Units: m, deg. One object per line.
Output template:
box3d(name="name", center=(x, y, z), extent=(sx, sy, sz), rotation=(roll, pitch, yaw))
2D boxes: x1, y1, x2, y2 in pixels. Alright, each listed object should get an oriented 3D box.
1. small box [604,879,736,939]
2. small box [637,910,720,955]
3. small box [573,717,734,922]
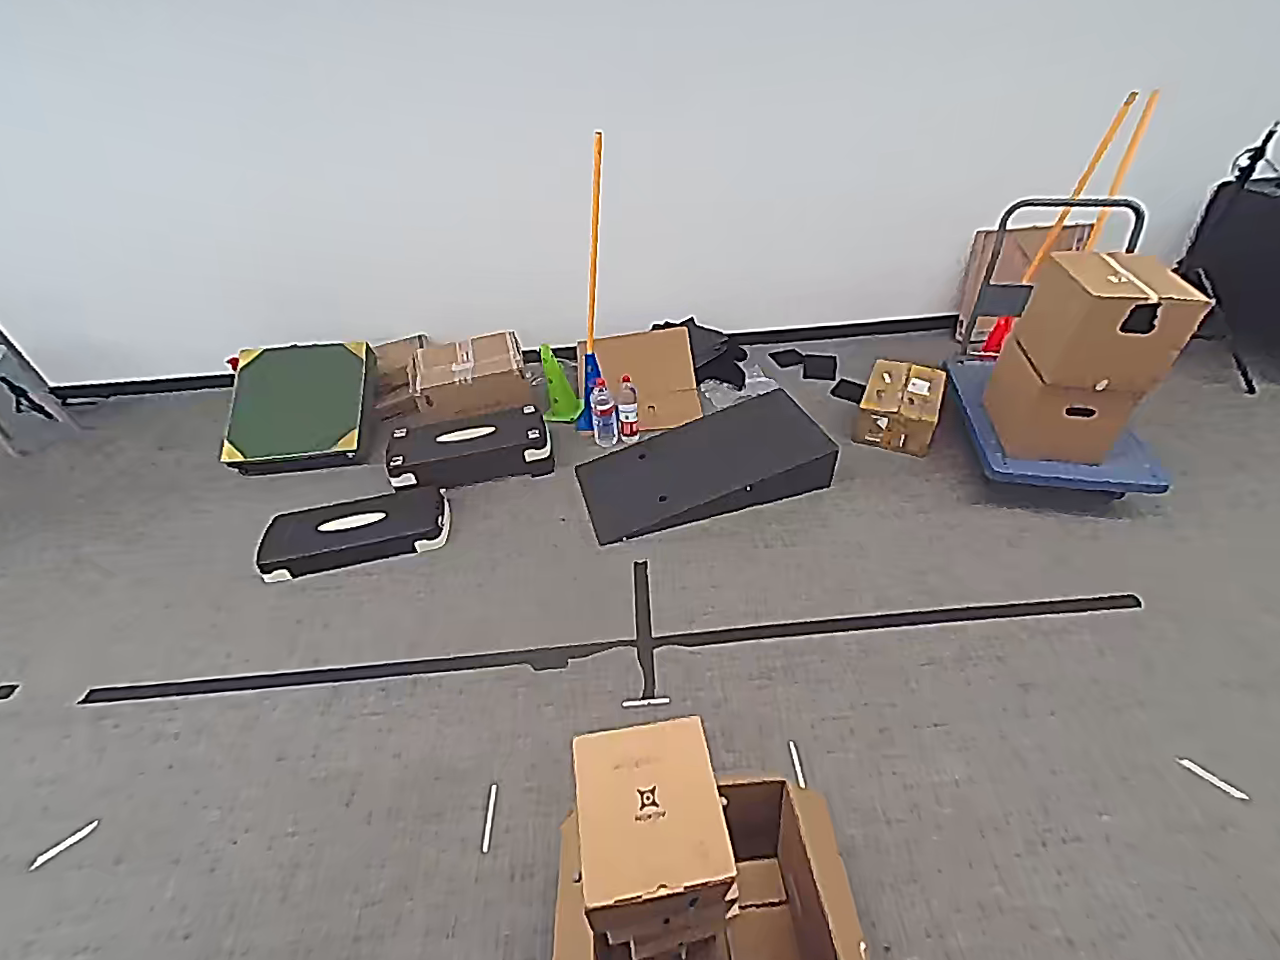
box3d(name="small box", center=(0.026, 0.543, 0.790), extent=(0.179, 0.176, 0.168), rotation=(-7, 45, -8))
box3d(name="small box", center=(0.054, 0.764, 1.035), extent=(0.179, 0.176, 0.168), rotation=(-17, 46, -18))
box3d(name="small box", center=(0.009, 0.427, 0.676), extent=(0.168, 0.176, 0.179), rotation=(-6, 44, -7))
